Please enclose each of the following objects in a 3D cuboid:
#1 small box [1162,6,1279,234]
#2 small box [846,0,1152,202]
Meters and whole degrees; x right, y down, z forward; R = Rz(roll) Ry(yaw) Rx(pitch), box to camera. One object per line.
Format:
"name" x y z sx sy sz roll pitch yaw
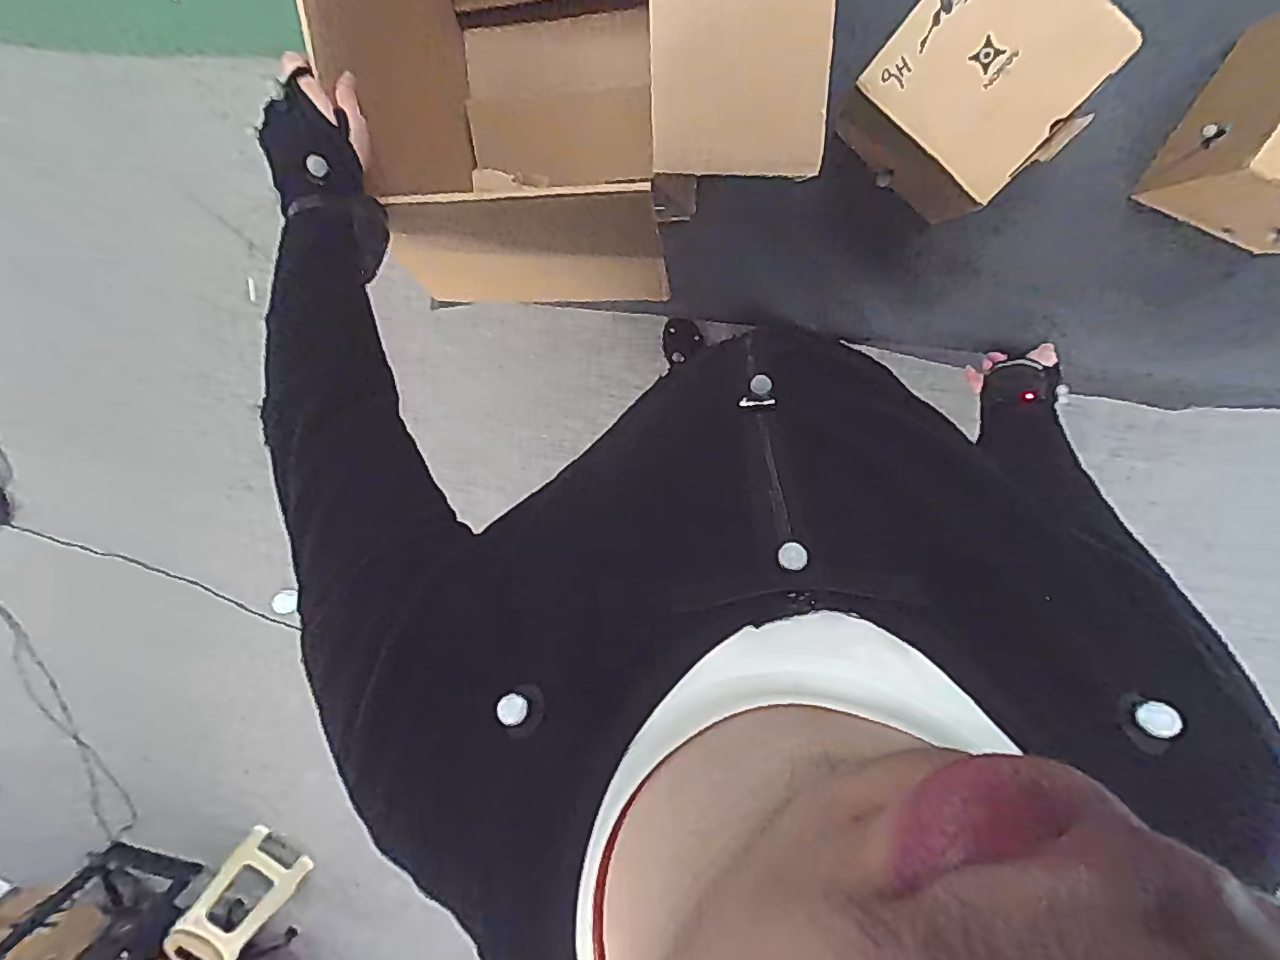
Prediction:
"small box" 0.666 -0.351 0.511 0.168 0.176 0.179 25 113 2
"small box" 0.345 -0.417 0.562 0.179 0.176 0.168 41 113 -5
